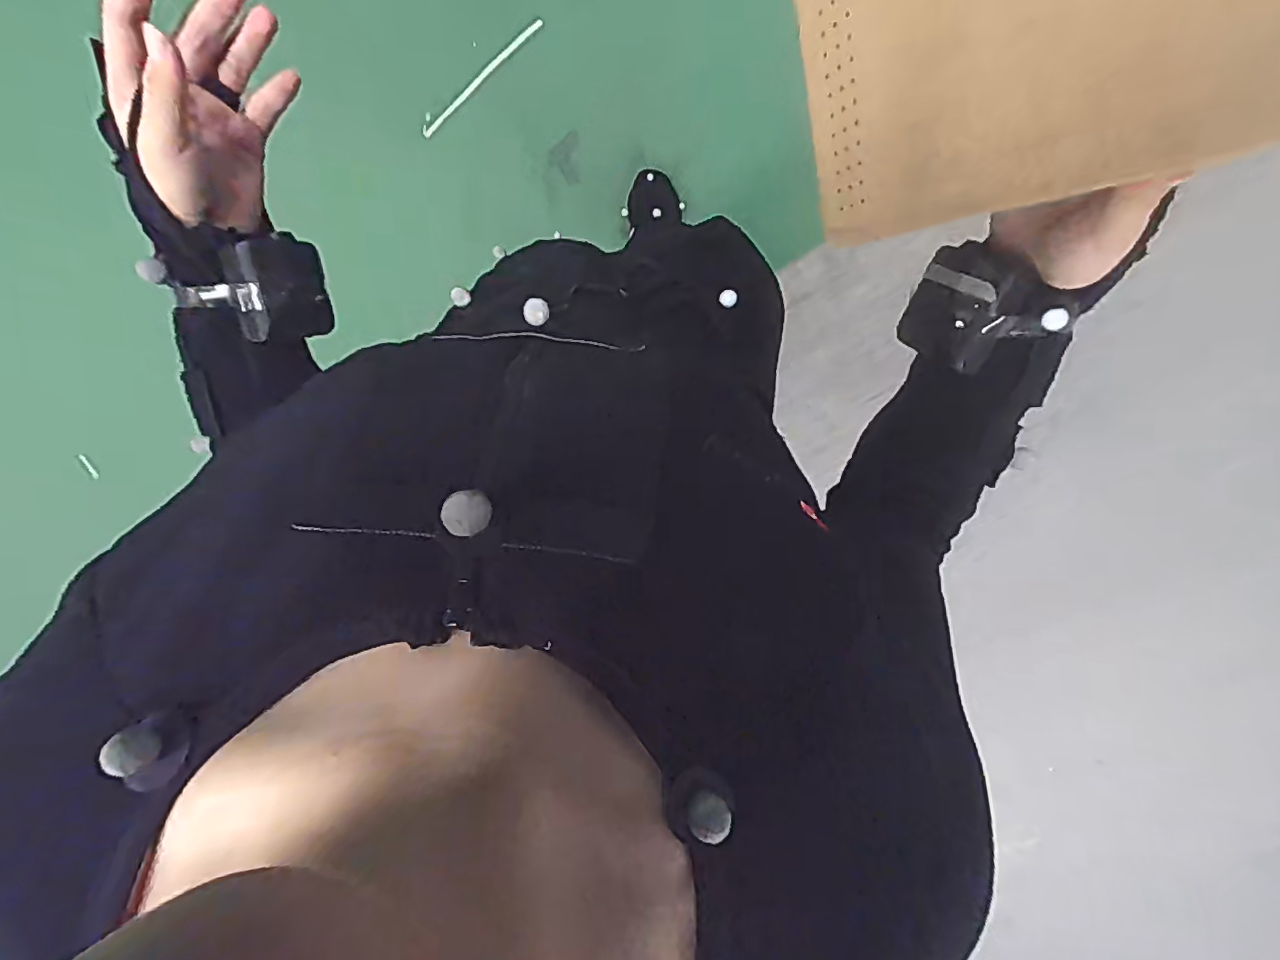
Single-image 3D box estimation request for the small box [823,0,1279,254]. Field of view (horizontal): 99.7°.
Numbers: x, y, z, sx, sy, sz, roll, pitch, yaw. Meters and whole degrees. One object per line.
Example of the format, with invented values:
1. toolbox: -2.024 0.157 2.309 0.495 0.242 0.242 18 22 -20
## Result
1. small box: 0.162 -0.179 0.145 0.168 0.176 0.179 -19 109 -8
